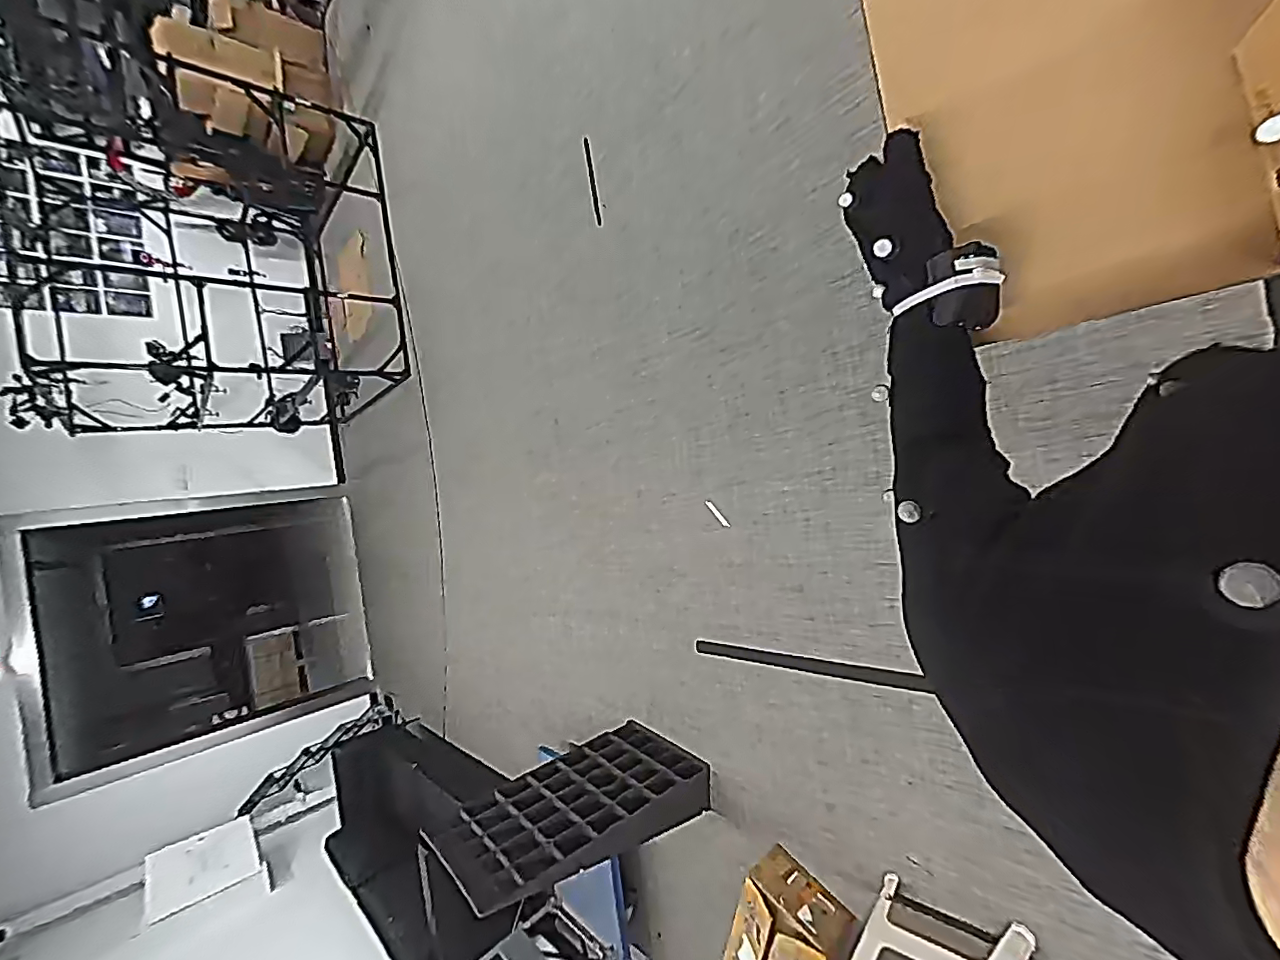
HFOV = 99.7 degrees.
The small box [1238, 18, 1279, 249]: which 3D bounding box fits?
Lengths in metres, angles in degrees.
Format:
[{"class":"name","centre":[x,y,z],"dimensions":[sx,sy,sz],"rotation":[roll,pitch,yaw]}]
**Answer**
[{"class":"small box","centre":[0.480,-0.237,0.278],"dimensions":[0.179,0.176,0.168],"rotation":[-14,90,32]}]
